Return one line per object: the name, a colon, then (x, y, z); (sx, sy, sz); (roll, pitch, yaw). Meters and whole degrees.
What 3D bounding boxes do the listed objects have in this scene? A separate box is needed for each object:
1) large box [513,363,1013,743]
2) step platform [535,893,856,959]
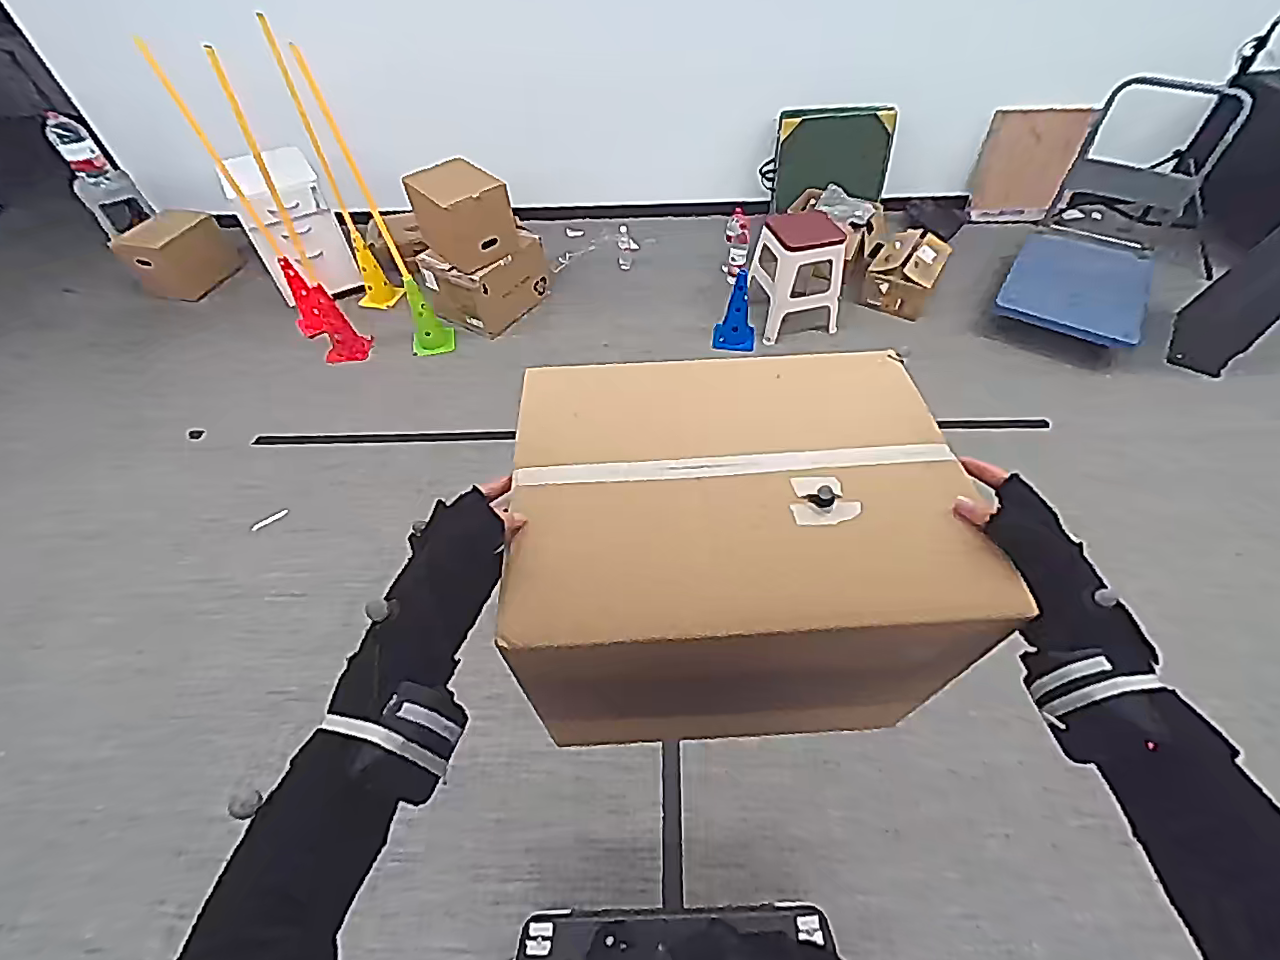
large box: (0.089, 0.090, 0.626); (0.408, 0.320, 0.320); (-3, 52, -2)
step platform: (0.114, 1.069, 1.146); (0.684, 0.204, 0.286); (-2, 51, -1)
